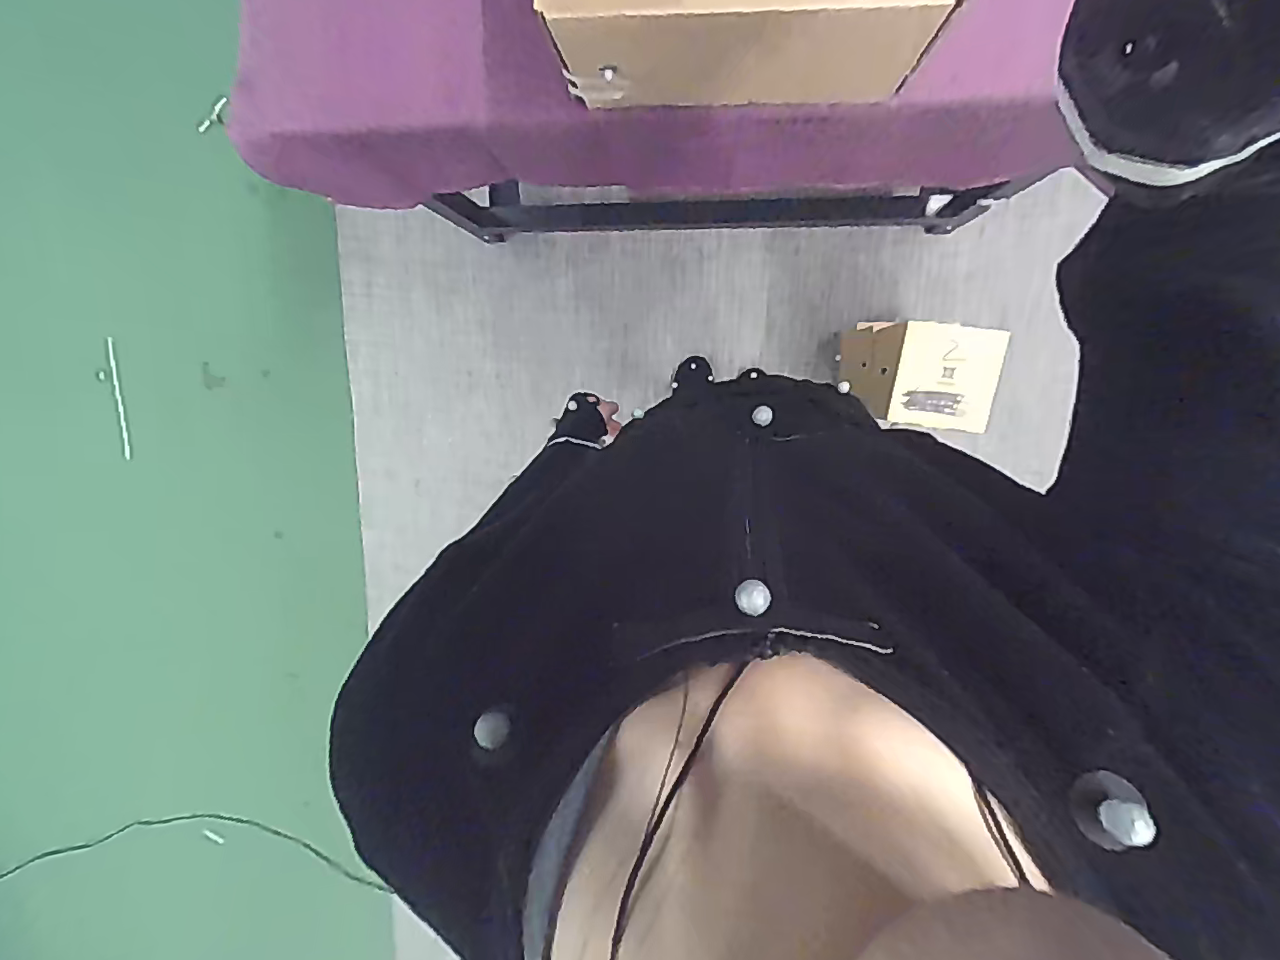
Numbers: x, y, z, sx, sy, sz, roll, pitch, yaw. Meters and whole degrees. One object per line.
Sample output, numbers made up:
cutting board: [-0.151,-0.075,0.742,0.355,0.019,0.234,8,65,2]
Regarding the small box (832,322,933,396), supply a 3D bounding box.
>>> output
small box: [0.580,-0.293,1.313,0.179,0.176,0.168,2,101,8]
